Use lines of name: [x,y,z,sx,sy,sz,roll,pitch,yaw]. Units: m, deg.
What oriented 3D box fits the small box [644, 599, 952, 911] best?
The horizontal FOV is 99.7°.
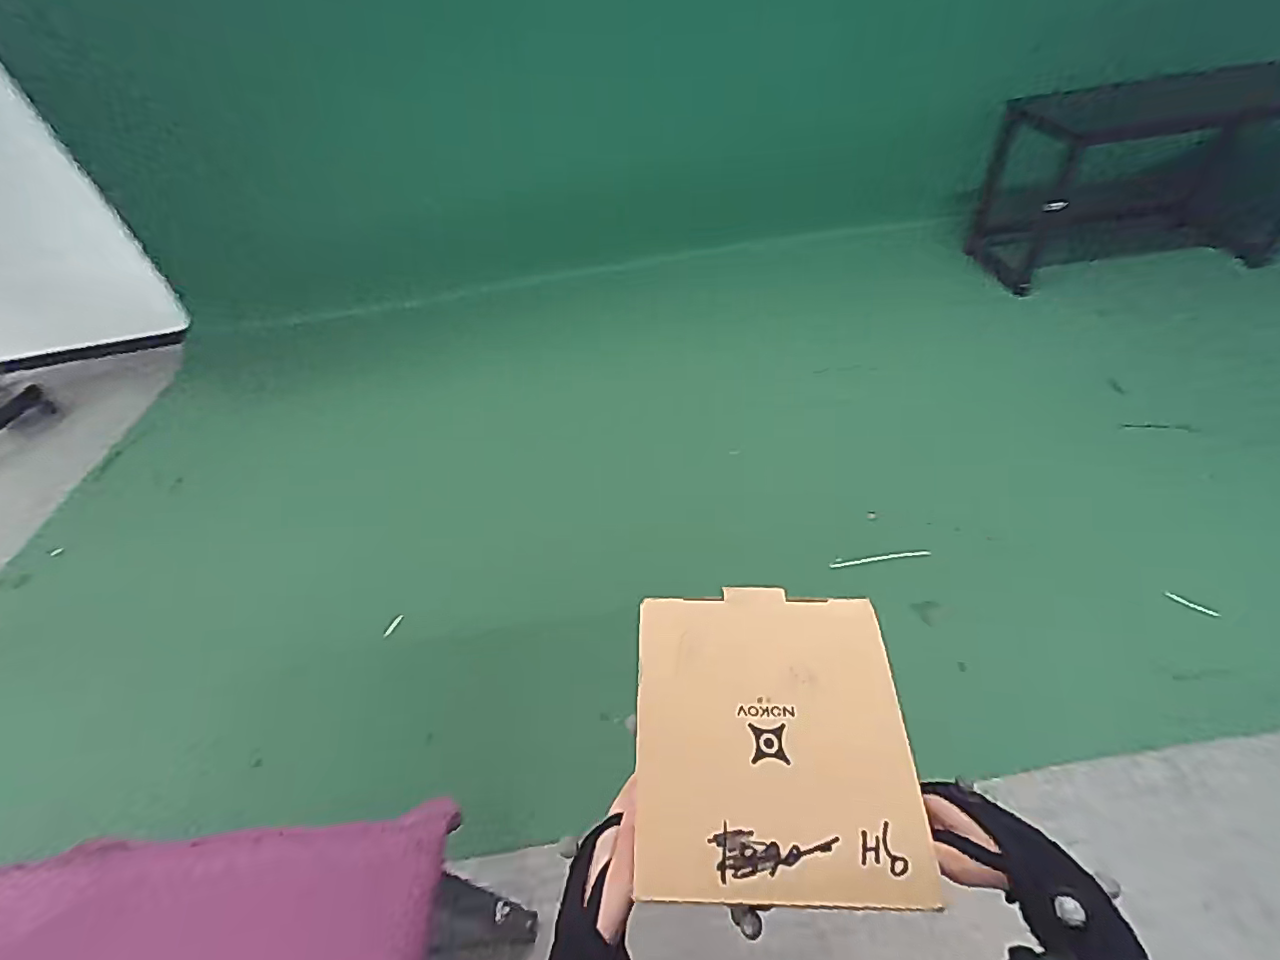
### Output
small box: [0.092,0.204,0.402,0.168,0.176,0.179,-1,53,5]
